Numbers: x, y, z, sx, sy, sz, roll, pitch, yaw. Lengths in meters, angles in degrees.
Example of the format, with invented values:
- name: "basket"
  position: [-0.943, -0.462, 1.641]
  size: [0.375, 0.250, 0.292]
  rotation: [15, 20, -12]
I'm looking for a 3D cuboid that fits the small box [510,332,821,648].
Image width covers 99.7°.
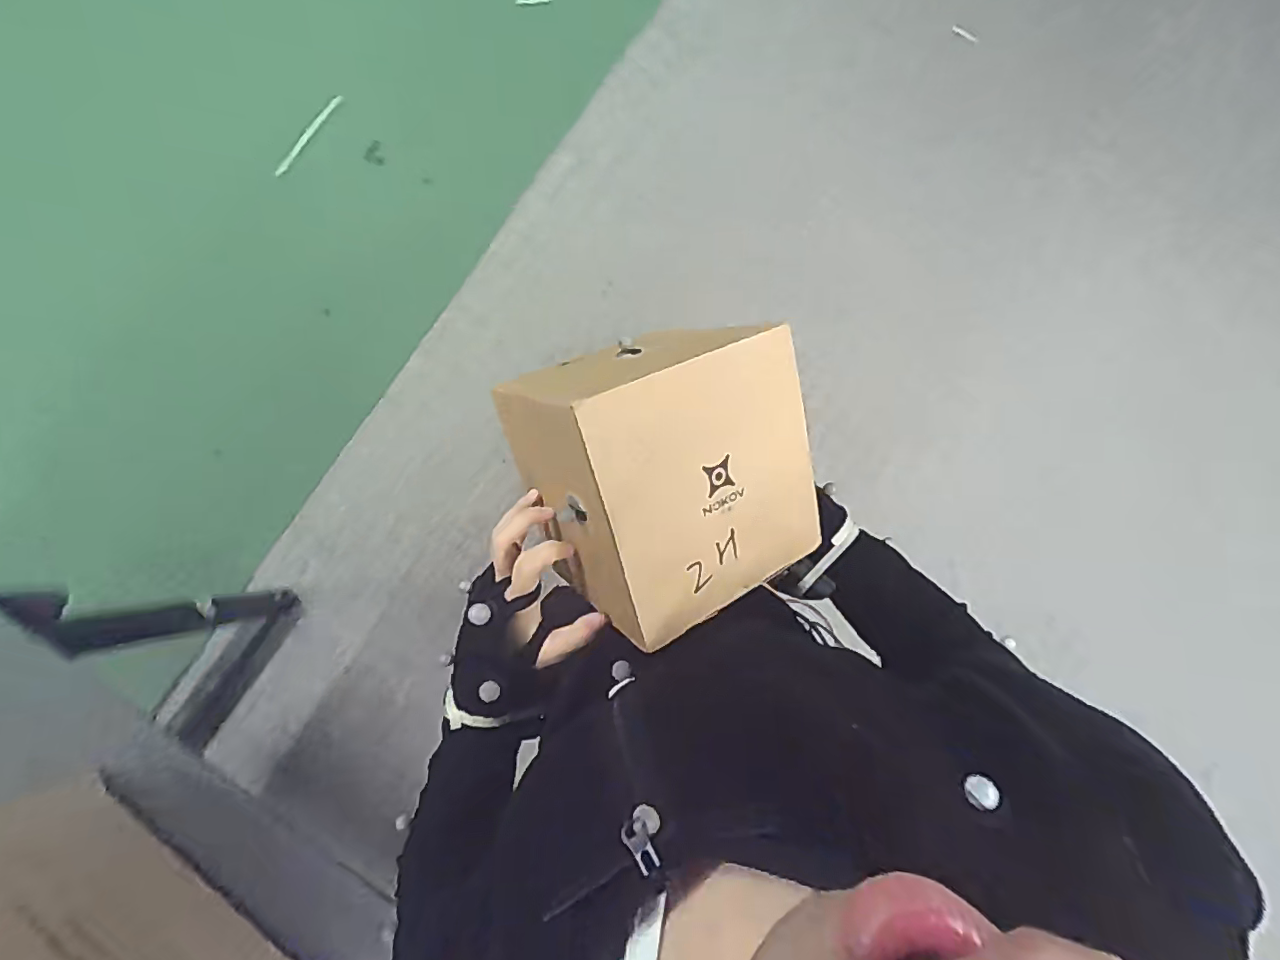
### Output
- name: "small box"
  position: [0.015, -0.009, 0.429]
  size: [0.168, 0.176, 0.179]
  rotation: [-23, 113, -23]
